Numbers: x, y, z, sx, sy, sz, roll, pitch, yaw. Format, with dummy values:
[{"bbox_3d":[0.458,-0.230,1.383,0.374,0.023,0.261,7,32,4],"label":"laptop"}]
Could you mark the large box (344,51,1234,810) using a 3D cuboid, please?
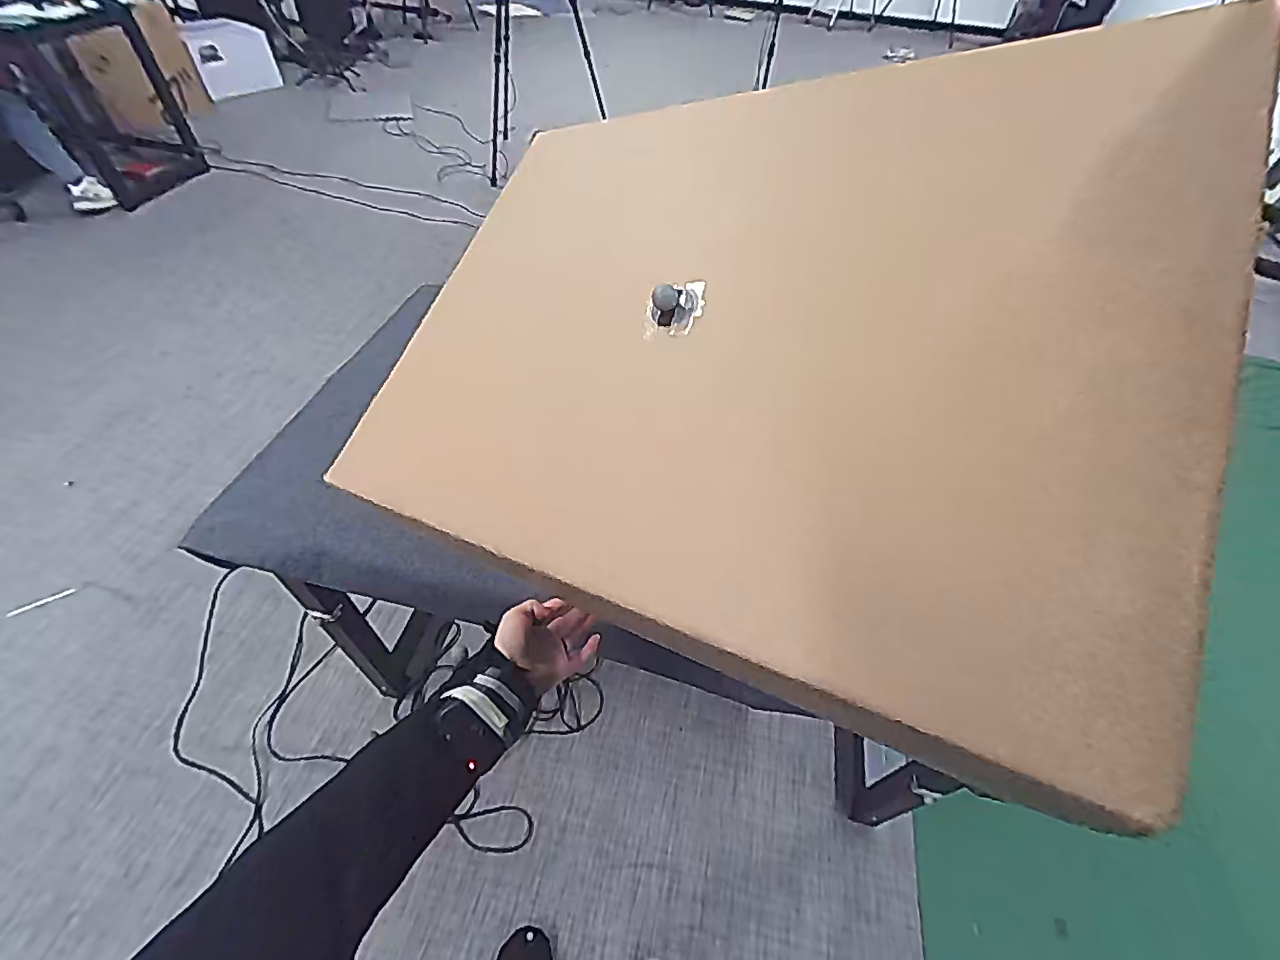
[{"bbox_3d":[0.086,-0.021,0.403,0.408,0.320,0.320,13,71,31],"label":"large box"}]
